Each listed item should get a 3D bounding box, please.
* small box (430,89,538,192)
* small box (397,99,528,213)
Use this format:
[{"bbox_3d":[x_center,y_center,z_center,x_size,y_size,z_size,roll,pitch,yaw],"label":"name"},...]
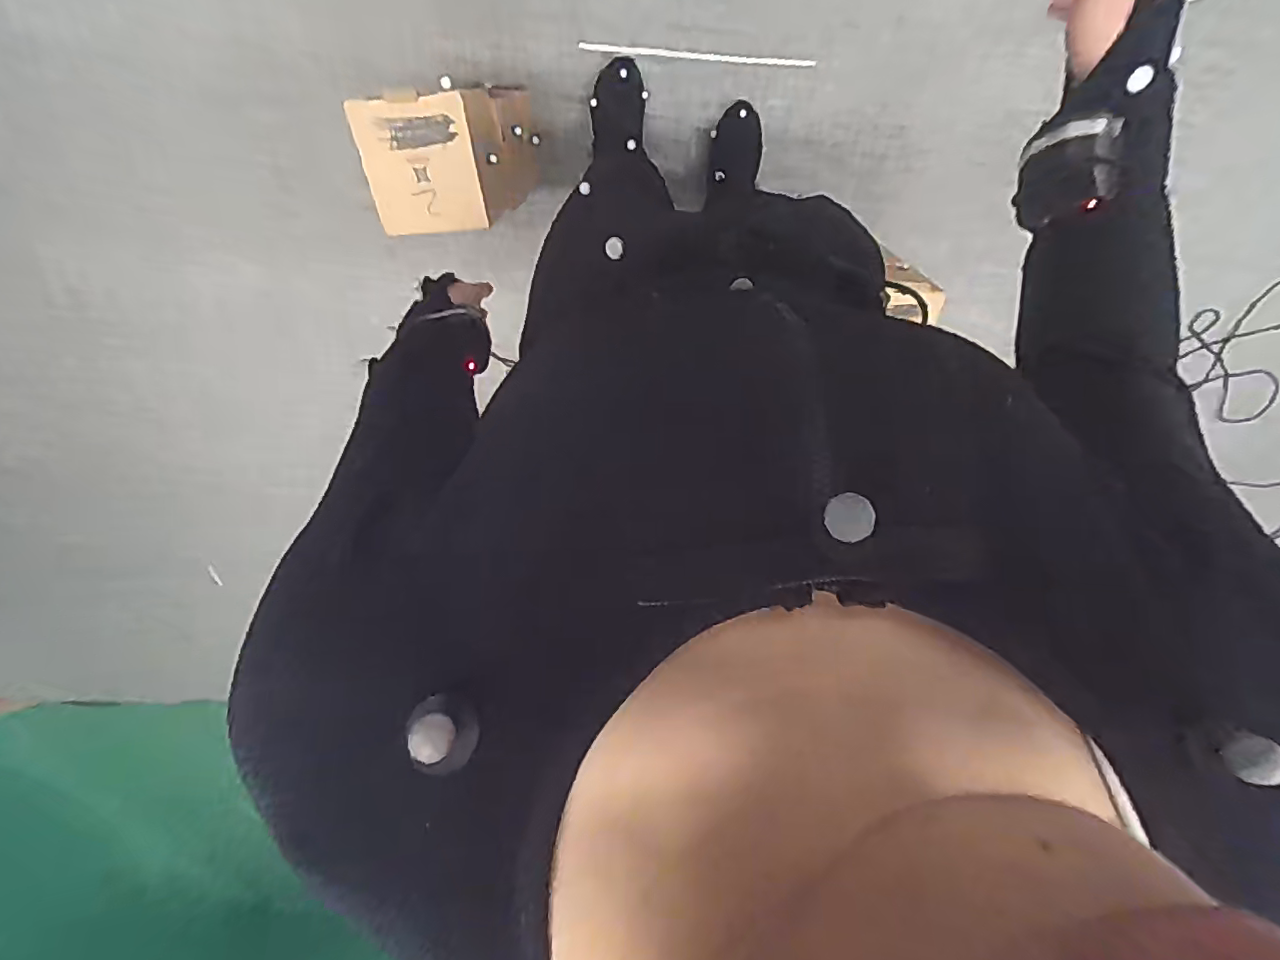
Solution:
[{"bbox_3d":[-0.309,-0.703,1.117,0.179,0.176,0.168,2,127,0],"label":"small box"},{"bbox_3d":[-0.311,-0.597,0.993,0.179,0.176,0.168,0,126,2],"label":"small box"}]
